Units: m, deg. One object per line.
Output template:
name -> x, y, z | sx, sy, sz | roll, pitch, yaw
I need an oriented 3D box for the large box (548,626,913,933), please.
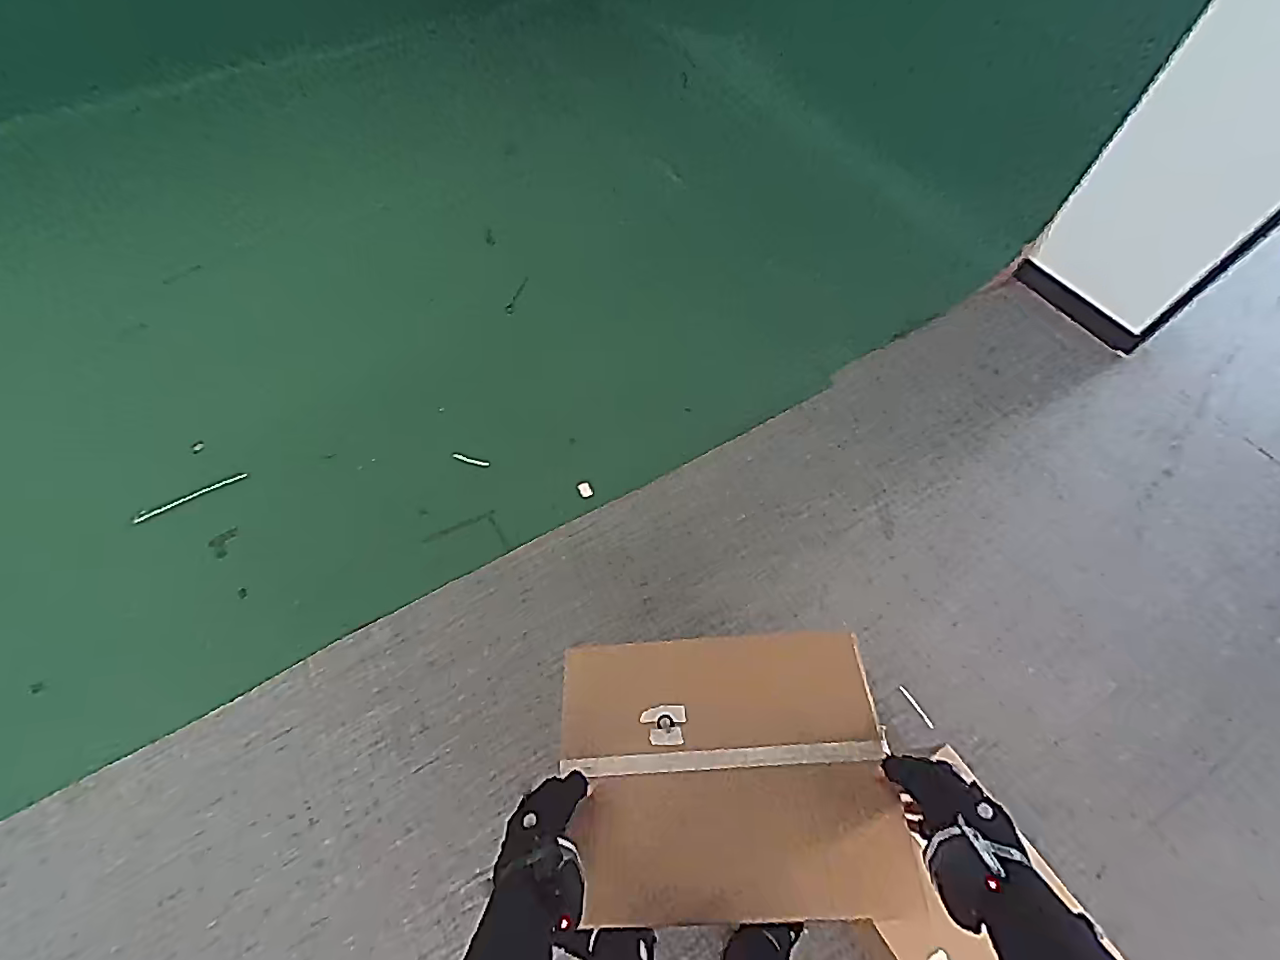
large box -> 0.106, 0.432, 0.788 | 0.408, 0.320, 0.320 | -7, 54, 5
